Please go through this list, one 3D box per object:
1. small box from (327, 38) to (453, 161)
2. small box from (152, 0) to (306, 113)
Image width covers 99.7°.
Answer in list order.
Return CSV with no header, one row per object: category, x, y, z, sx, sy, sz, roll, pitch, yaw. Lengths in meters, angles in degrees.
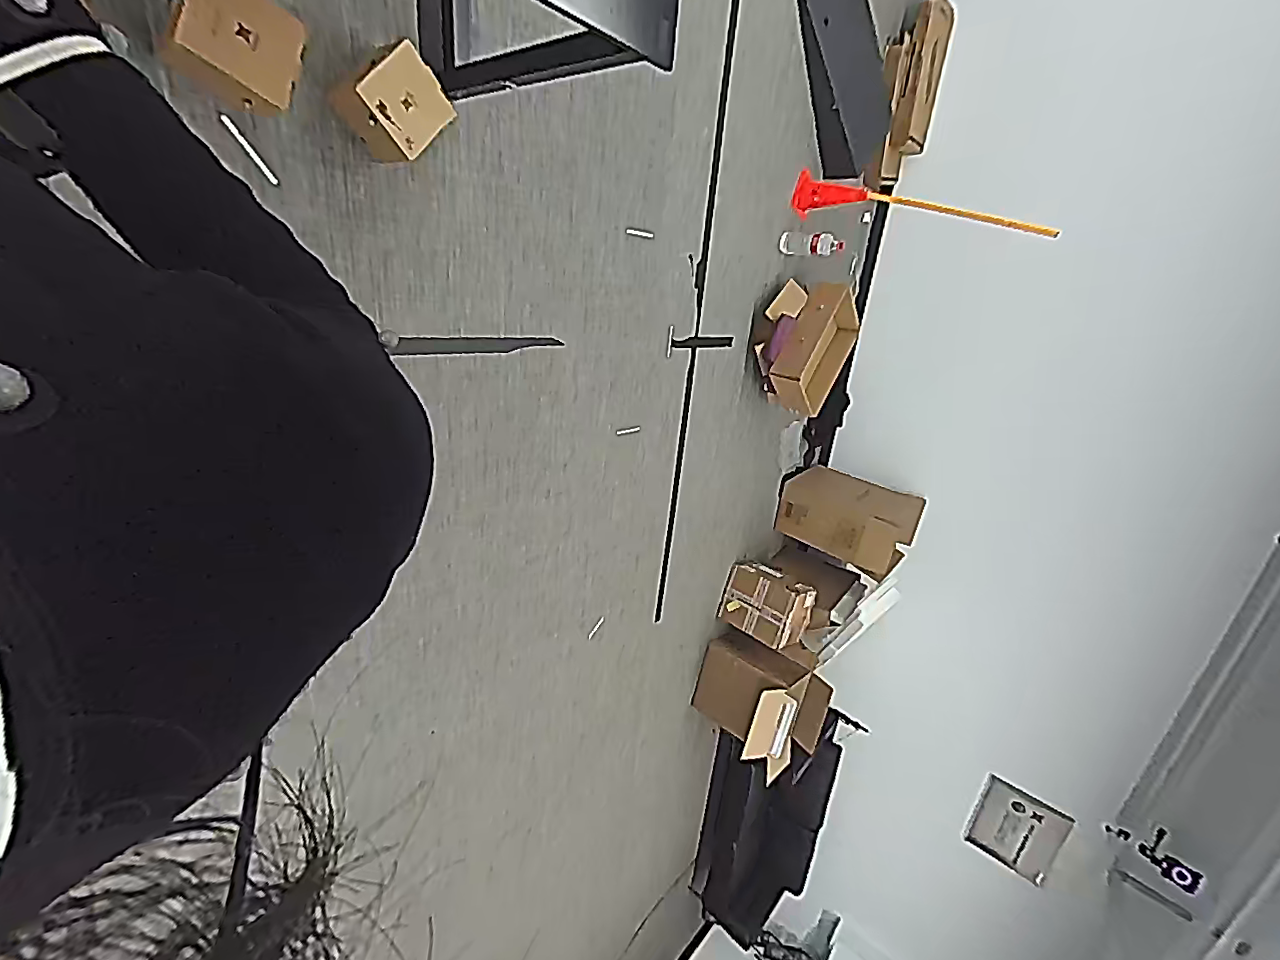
small box,-0.580,-0.871,1.251,0.179,0.176,0.168,-57,142,-14
small box,-0.778,-0.830,1.024,0.179,0.176,0.168,14,96,-53
